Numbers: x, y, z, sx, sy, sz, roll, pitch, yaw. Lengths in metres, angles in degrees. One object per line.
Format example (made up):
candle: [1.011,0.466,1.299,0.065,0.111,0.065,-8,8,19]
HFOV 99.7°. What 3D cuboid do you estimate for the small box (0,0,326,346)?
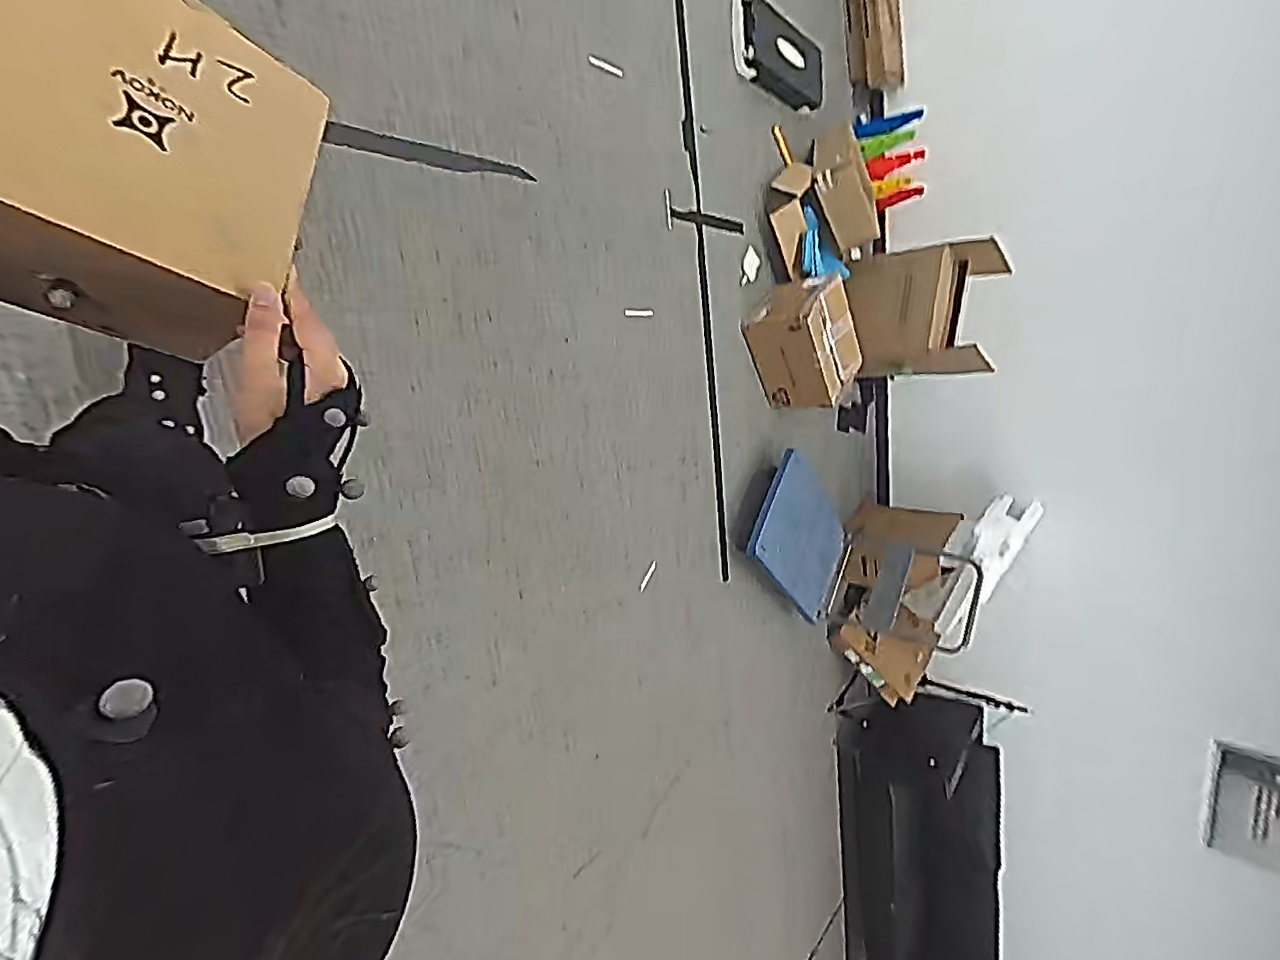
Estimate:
small box: [-0.344,-0.209,0.356,0.168,0.176,0.179,19,71,-51]
